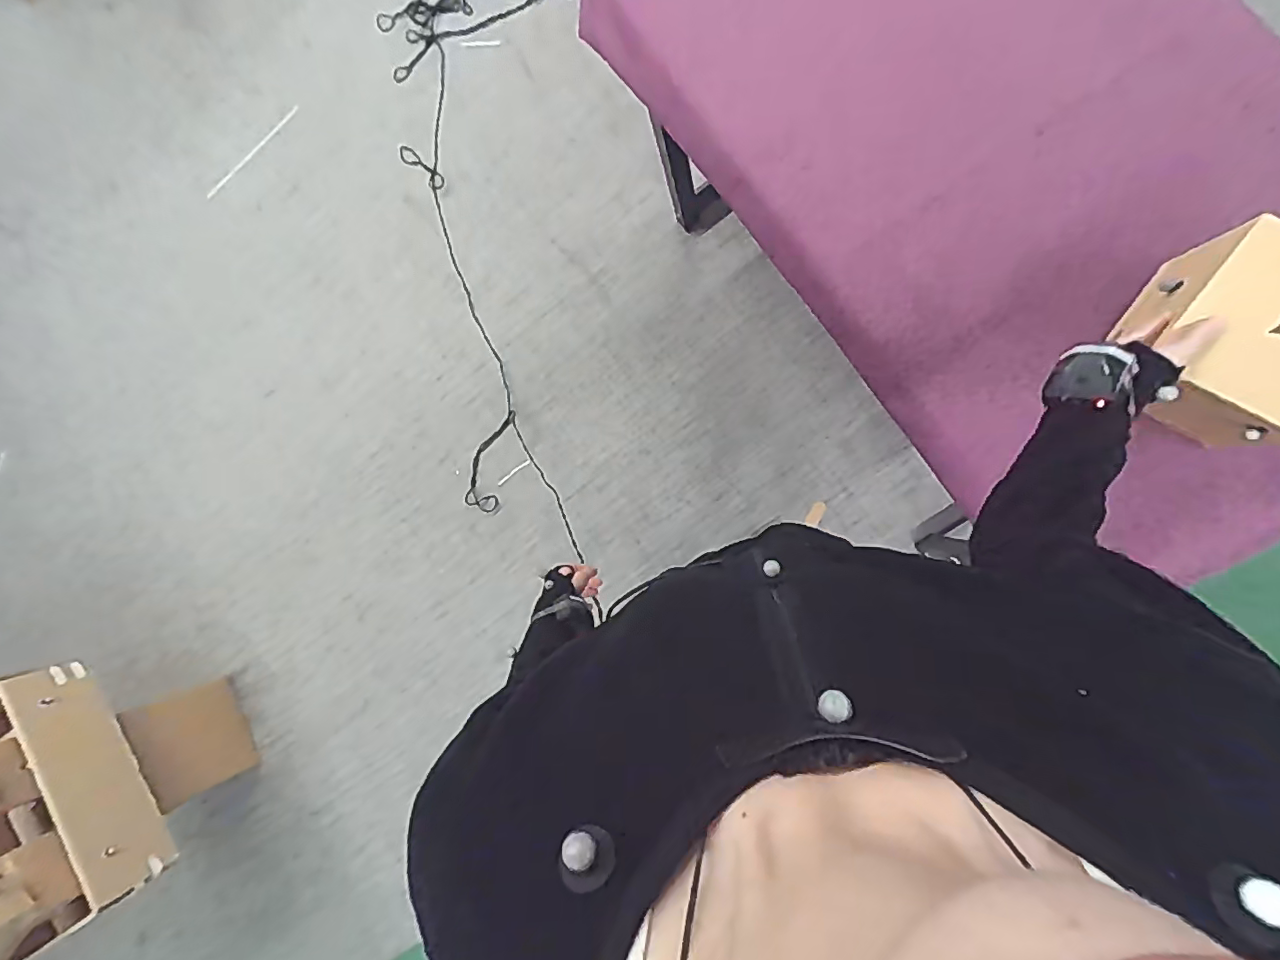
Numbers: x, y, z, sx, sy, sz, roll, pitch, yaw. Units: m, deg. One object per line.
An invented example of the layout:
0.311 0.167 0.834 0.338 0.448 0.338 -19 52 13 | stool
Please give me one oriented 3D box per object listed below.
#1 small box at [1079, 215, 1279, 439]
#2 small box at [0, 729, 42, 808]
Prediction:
0.652 -0.152 0.600 0.179 0.176 0.168 33 104 12 | small box
-1.630 0.741 1.321 0.179 0.176 0.168 -25 84 8 | small box
